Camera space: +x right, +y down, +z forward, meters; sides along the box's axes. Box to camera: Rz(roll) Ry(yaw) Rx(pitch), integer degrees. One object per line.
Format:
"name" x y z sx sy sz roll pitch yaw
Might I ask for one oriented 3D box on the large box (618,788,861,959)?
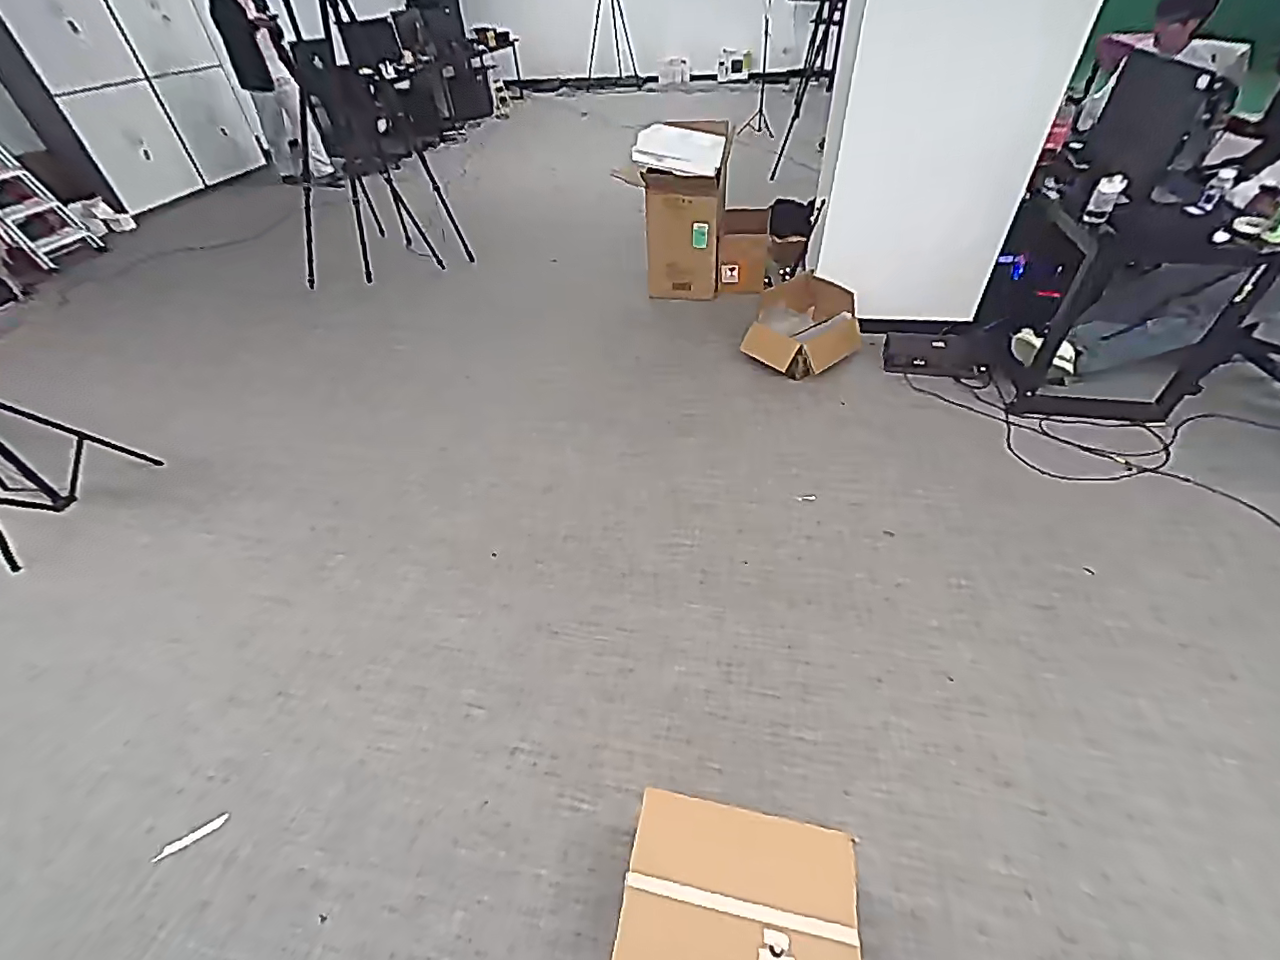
"large box" 0.184 0.855 1.057 0.408 0.320 0.320 7 45 10
